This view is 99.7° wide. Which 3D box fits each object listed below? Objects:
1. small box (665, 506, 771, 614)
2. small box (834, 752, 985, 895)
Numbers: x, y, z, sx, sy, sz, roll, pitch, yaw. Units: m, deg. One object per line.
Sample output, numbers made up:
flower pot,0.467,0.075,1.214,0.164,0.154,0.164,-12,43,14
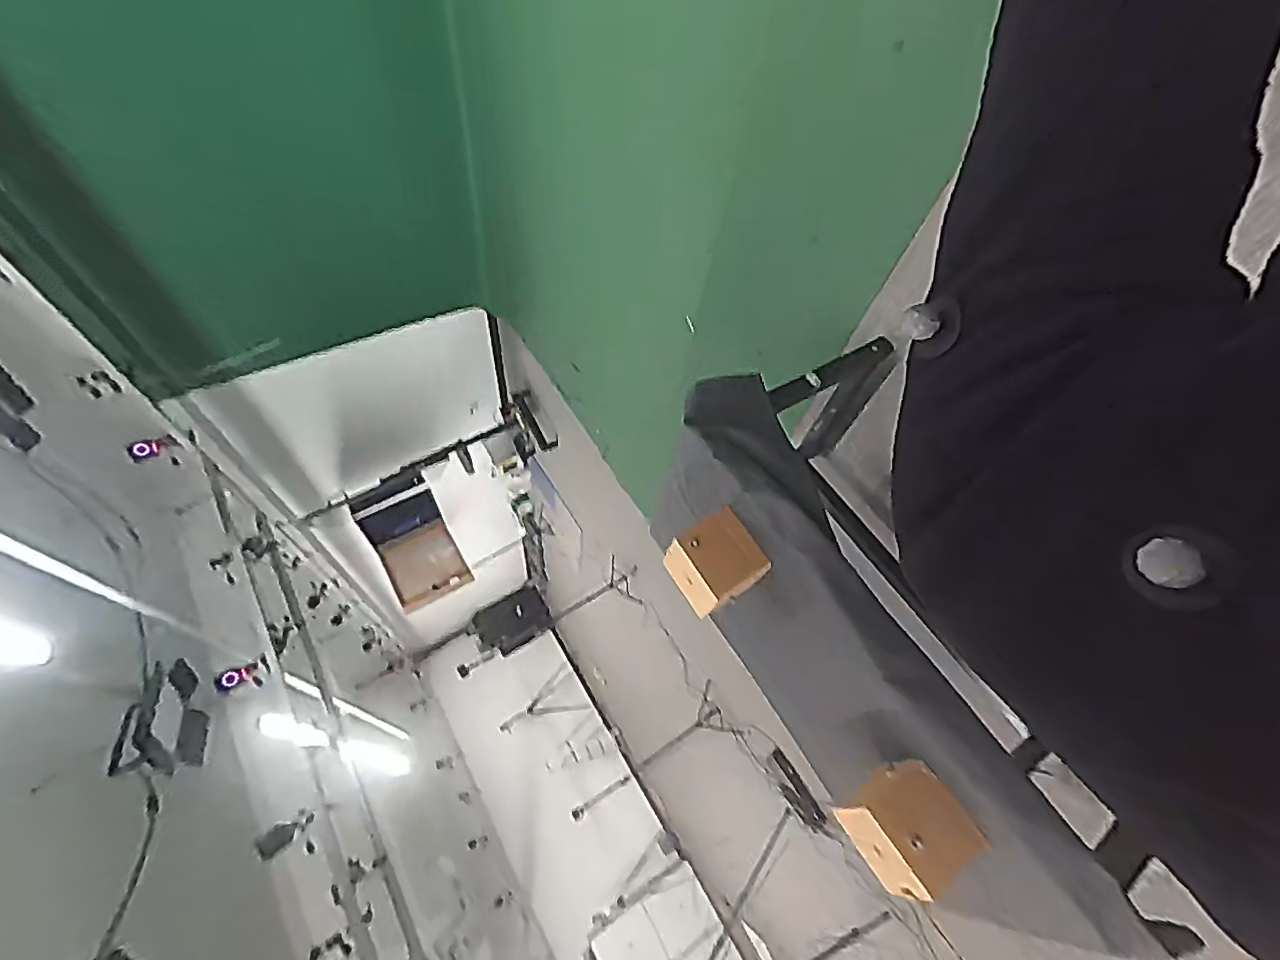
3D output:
small box,0.189,0.194,1.320,0.179,0.176,0.168,55,157,20
small box,0.538,0.681,1.087,0.179,0.176,0.168,55,156,24
